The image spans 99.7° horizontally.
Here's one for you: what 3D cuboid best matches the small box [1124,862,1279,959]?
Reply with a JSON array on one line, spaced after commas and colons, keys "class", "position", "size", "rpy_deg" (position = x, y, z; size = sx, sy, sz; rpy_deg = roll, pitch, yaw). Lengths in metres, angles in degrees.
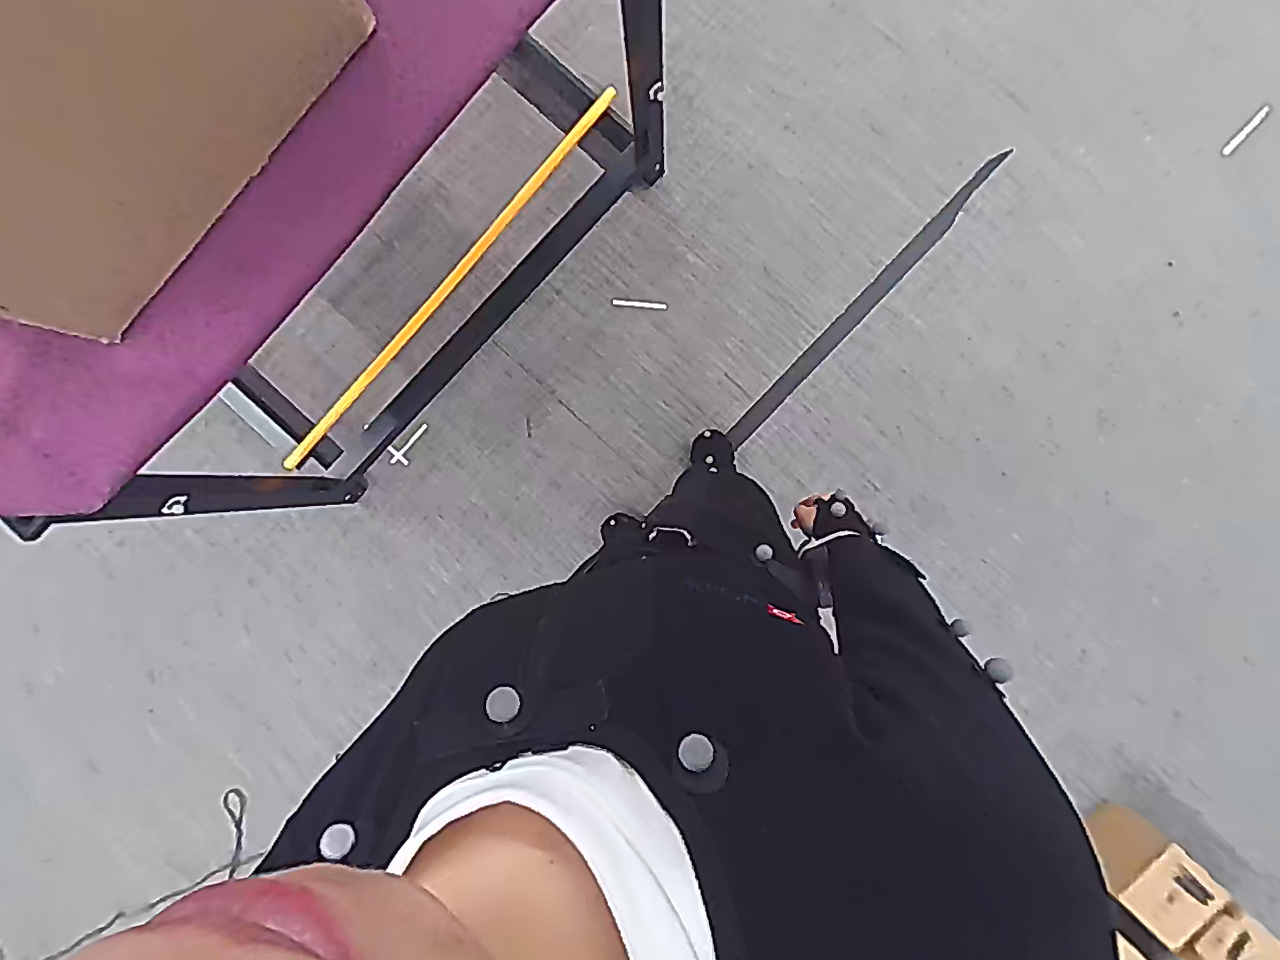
[{"class": "small box", "position": [1.301, 1.039, 1.254], "size": [0.179, 0.176, 0.168], "rpy_deg": [42, 91, 0]}]
